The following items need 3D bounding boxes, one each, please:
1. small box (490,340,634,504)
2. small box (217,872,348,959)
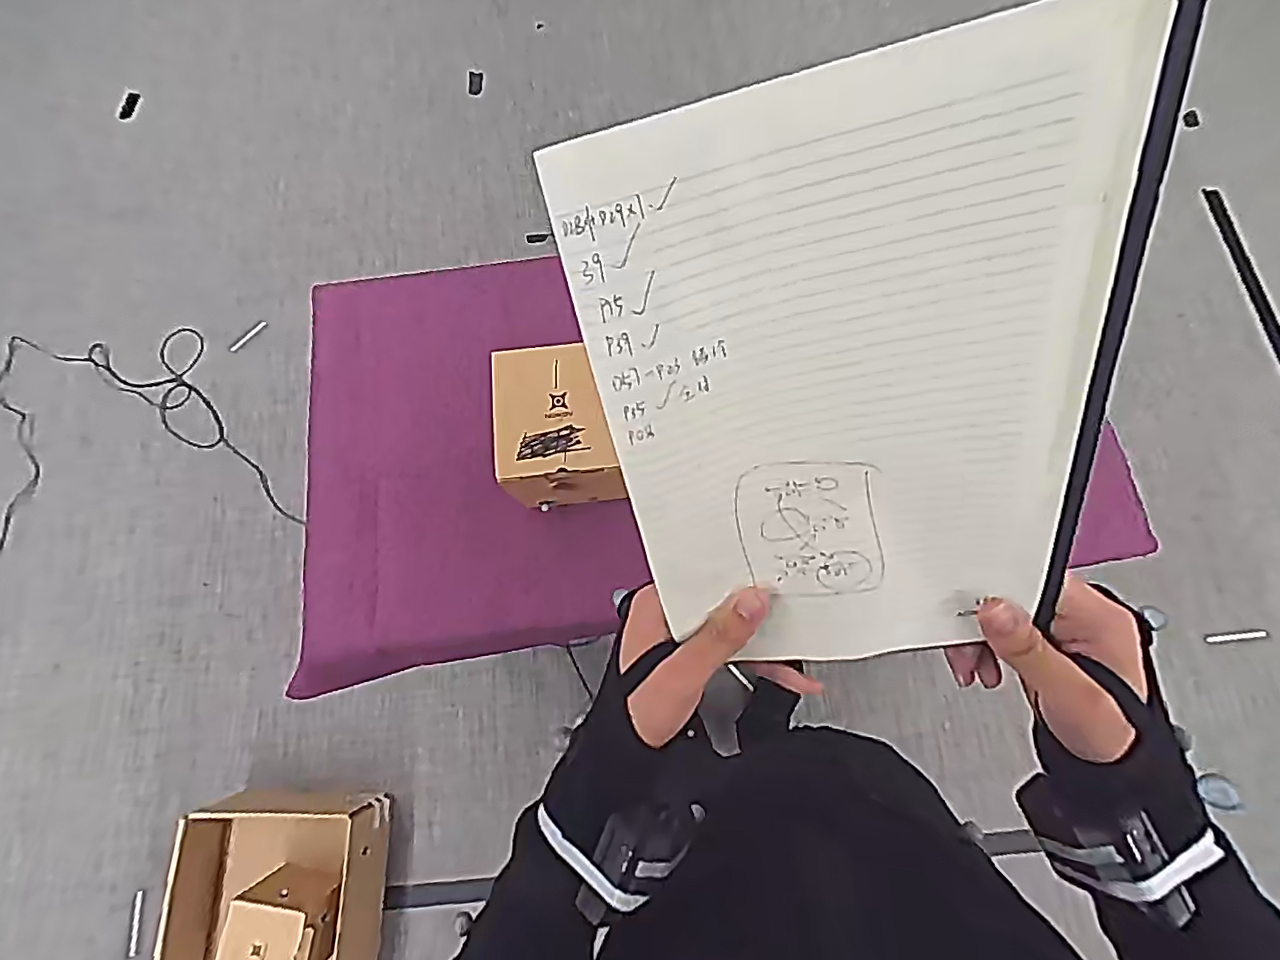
[{"bbox_3d":[-0.100,-0.068,0.744,0.168,0.176,0.179,-6,75,1],"label":"small box"},{"bbox_3d":[-0.788,1.007,1.200,0.179,0.176,0.168,7,76,4],"label":"small box"}]
